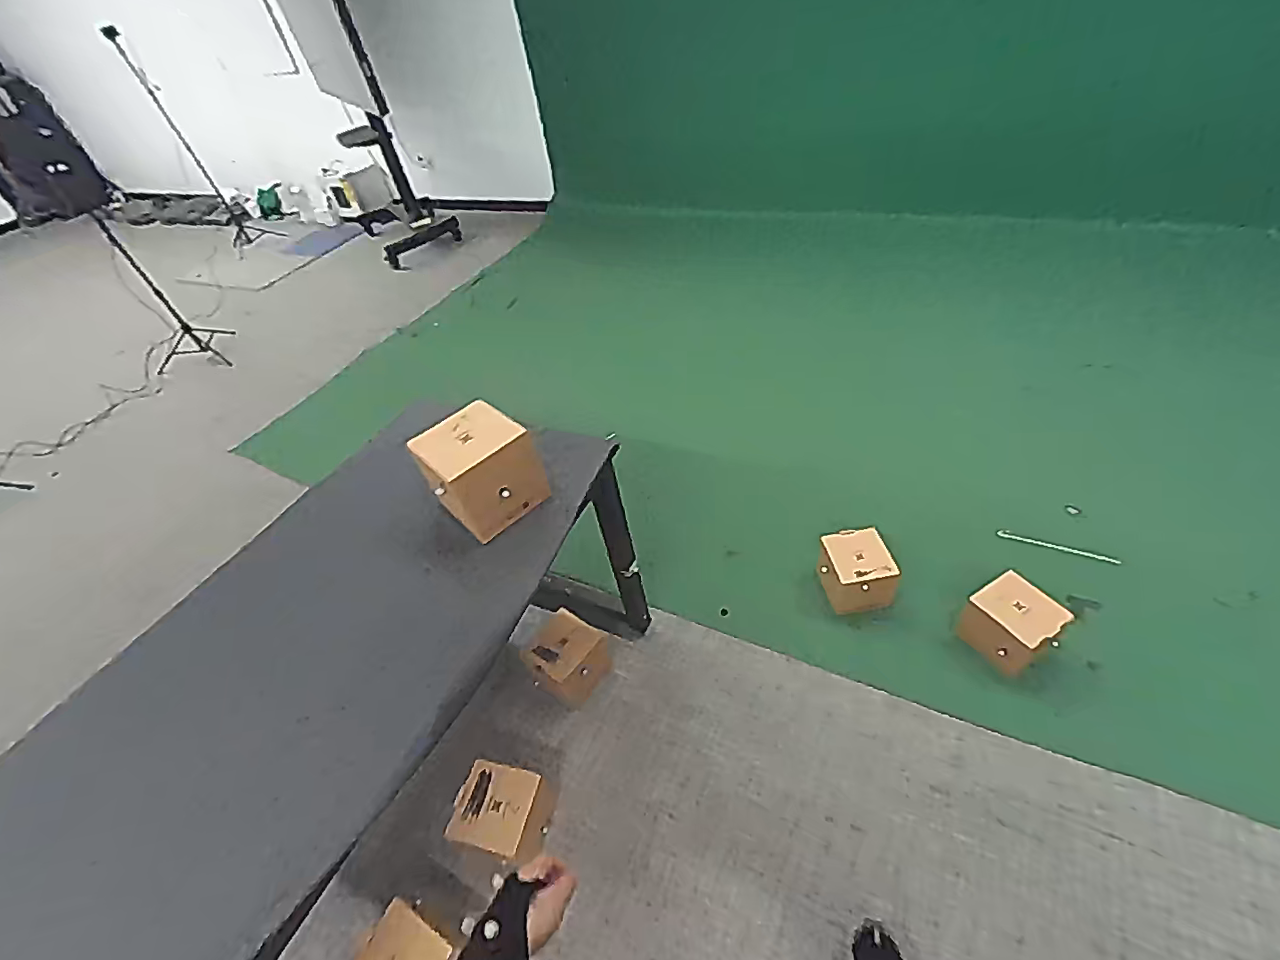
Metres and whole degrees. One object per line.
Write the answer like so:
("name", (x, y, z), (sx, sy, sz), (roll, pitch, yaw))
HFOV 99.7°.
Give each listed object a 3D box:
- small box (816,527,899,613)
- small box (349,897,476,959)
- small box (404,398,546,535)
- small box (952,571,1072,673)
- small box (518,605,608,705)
("small box", (0.635, 0.268, 1.603), (0.168, 0.176, 0.179), (-10, 44, 1))
("small box", (-0.467, 0.993, 1.096), (0.179, 0.176, 0.168), (17, 52, 26))
("small box", (-0.303, -0.021, 1.024), (0.168, 0.176, 0.179), (-38, 49, -25))
("small box", (0.972, 0.382, 1.429), (0.168, 0.176, 0.179), (-26, 46, -16))
("small box", (-0.209, 0.499, 1.530), (0.168, 0.176, 0.179), (26, 54, 30))
